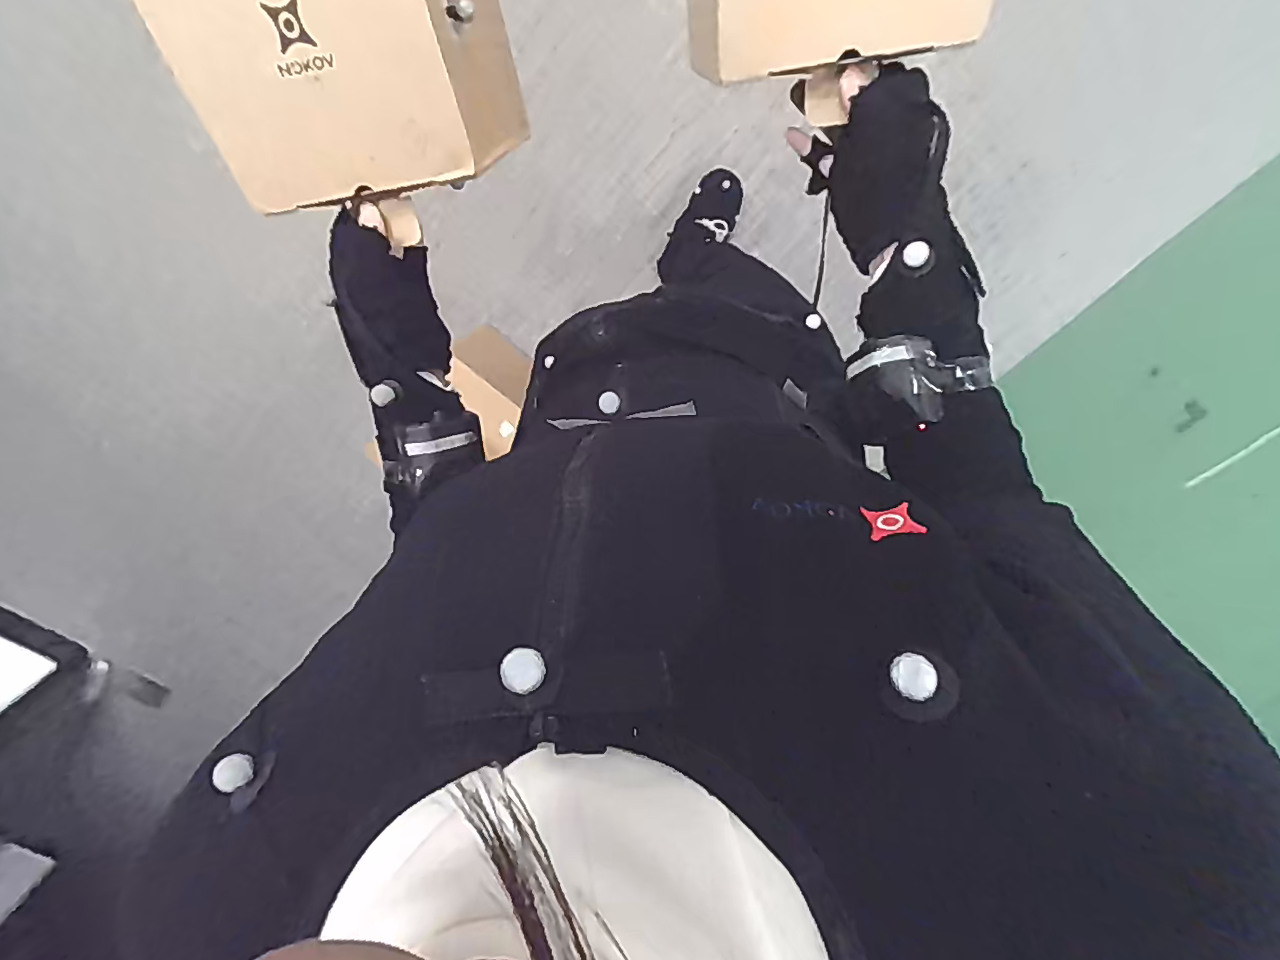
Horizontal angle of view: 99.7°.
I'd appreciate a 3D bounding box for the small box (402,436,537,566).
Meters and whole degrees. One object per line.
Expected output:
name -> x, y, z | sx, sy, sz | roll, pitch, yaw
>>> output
small box -> -0.330, 0.032, 1.083 | 0.168, 0.176, 0.179 | -39, 110, 13
